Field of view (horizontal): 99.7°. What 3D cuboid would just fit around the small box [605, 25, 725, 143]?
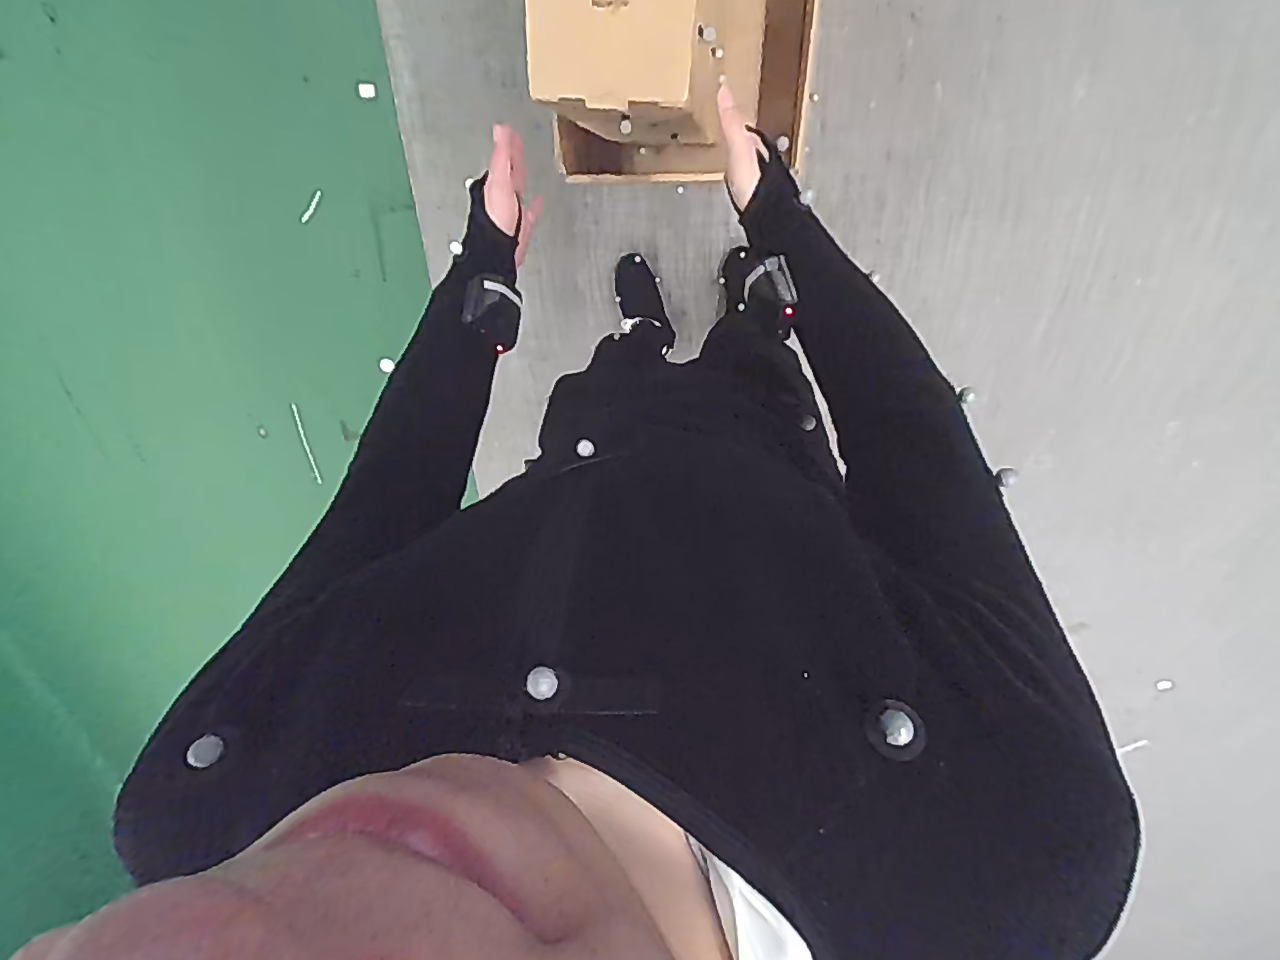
[{"bbox_3d":[0.043,-0.641,0.853,0.168,0.176,0.179,6,116,10],"label":"small box"}]

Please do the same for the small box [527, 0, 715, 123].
[{"bbox_3d":[-0.011,-0.490,0.569,0.168,0.176,0.179,8,118,8],"label":"small box"}]

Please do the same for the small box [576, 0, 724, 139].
[{"bbox_3d":[0.018,-0.561,0.713,0.168,0.176,0.179,8,117,8],"label":"small box"}]
